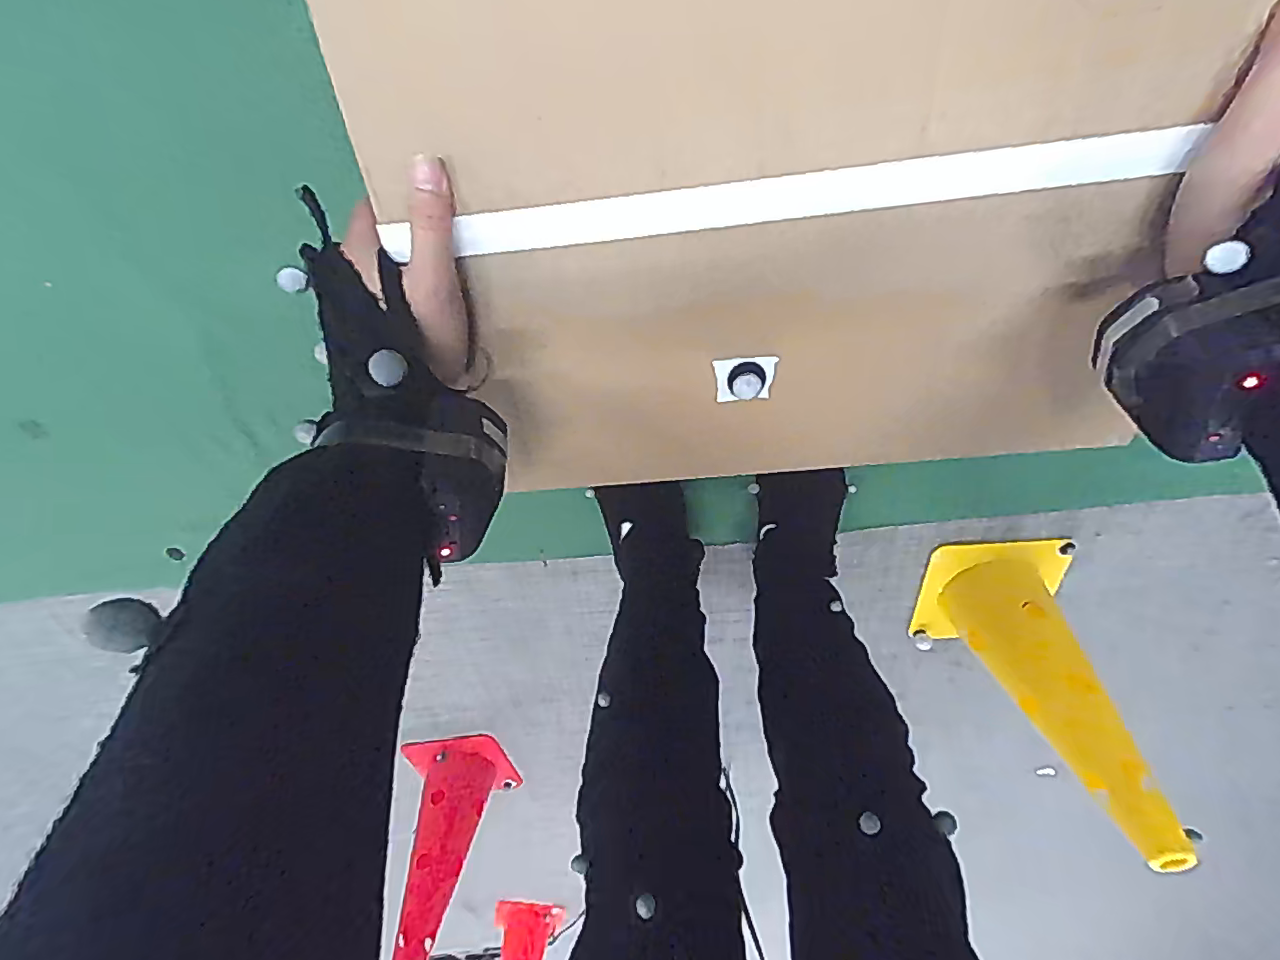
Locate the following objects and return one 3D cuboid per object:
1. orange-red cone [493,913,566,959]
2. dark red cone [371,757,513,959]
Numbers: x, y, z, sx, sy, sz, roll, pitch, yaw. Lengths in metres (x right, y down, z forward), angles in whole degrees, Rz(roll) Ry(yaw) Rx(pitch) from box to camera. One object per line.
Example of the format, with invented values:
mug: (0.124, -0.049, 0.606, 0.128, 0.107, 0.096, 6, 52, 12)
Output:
orange-red cone: (-0.326, 1.384, 1.406, 0.199, 0.360, 0.198, 12, 122, -5)
dark red cone: (-0.377, 0.697, 0.933, 0.202, 0.394, 0.201, -12, 119, 9)
